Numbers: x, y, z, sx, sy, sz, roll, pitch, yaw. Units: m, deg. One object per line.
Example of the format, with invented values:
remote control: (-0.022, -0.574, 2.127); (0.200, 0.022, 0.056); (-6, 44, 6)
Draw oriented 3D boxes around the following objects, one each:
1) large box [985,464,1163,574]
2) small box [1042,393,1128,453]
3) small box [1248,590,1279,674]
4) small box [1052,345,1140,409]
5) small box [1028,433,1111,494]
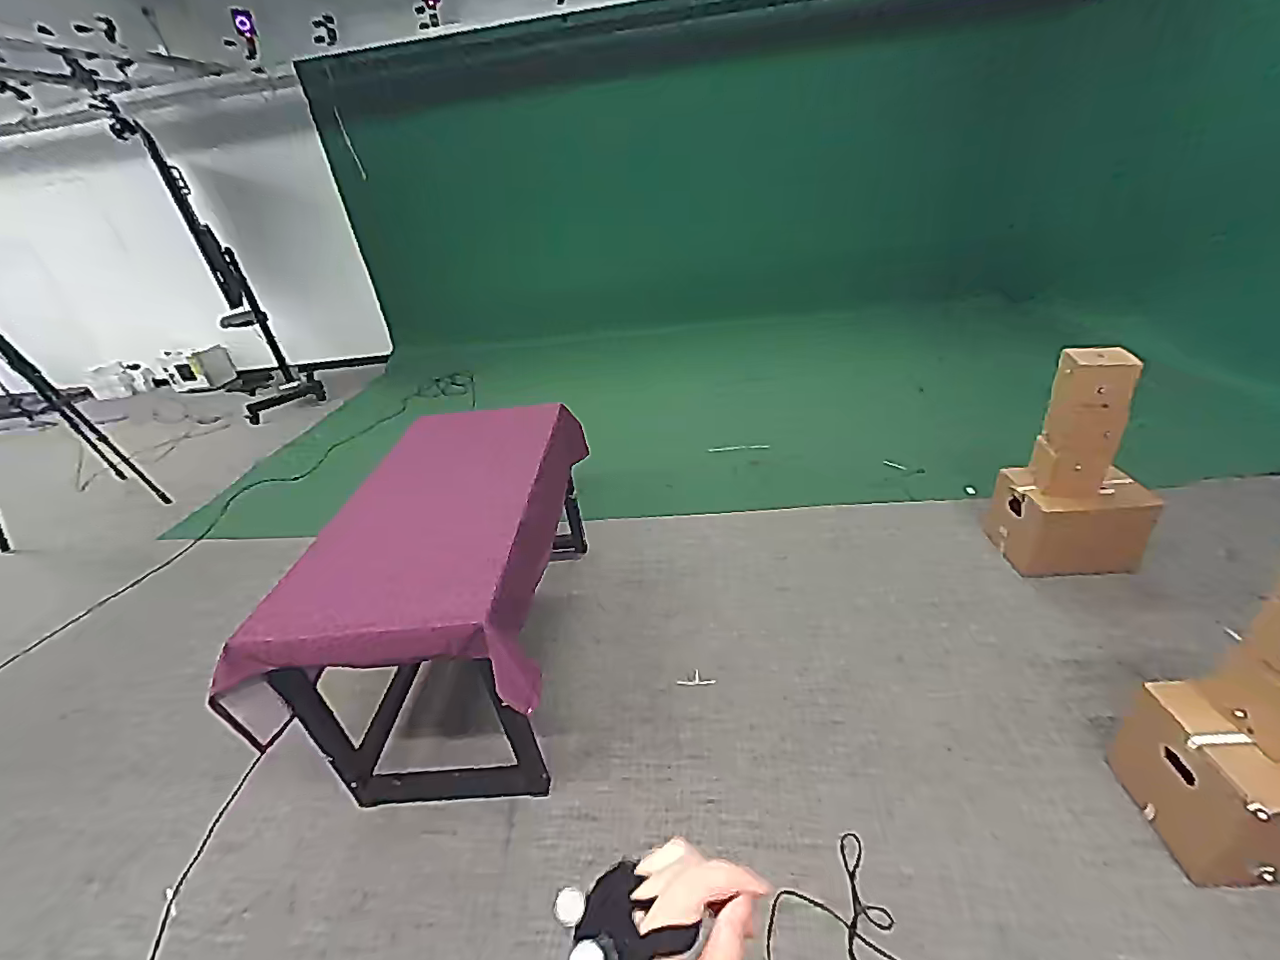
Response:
large box: (1.652, 0.145, 2.104); (0.408, 0.320, 0.320); (-4, 31, 5)
small box: (1.563, -0.203, 1.912); (0.179, 0.176, 0.168); (2, 31, 19)
small box: (1.388, 0.324, 1.075); (0.179, 0.176, 0.168); (-9, 30, -1)
small box: (1.540, -0.349, 1.838); (0.168, 0.176, 0.179); (4, 32, 19)
small box: (1.573, -0.061, 1.991); (0.179, 0.176, 0.168); (1, 31, 15)
